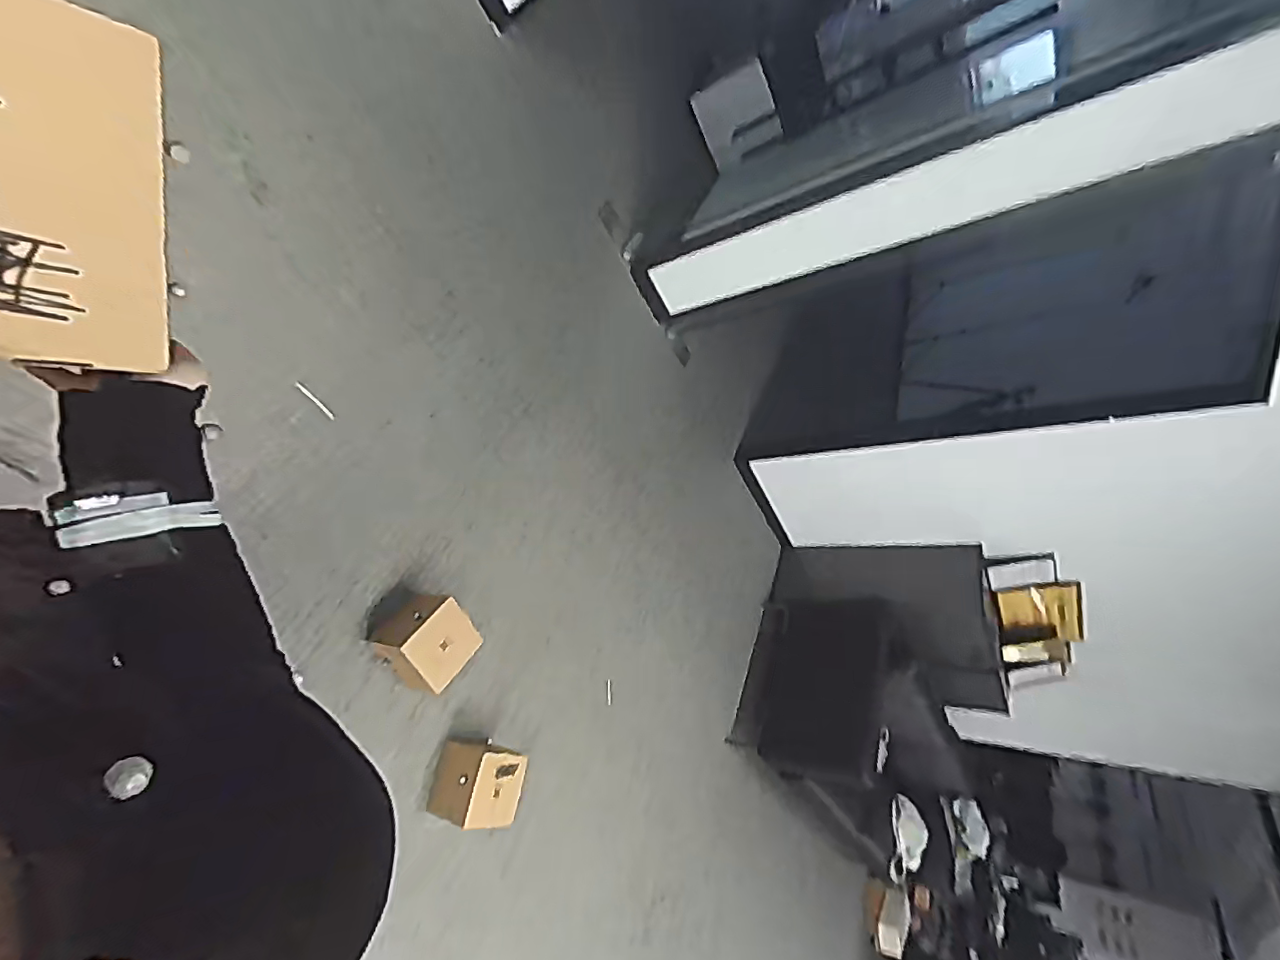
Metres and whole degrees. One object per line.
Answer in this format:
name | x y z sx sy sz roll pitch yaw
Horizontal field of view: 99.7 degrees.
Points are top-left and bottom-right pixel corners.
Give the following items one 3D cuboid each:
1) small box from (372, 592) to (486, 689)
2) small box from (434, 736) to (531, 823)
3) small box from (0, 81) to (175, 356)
small box | -0.540 0.401 1.386 0.179 0.176 0.168 -51 124 -44
small box | -0.431 0.811 1.475 0.168 0.176 0.179 35 58 -45
small box | -0.477 -0.193 0.414 0.179 0.176 0.168 1 102 -40
